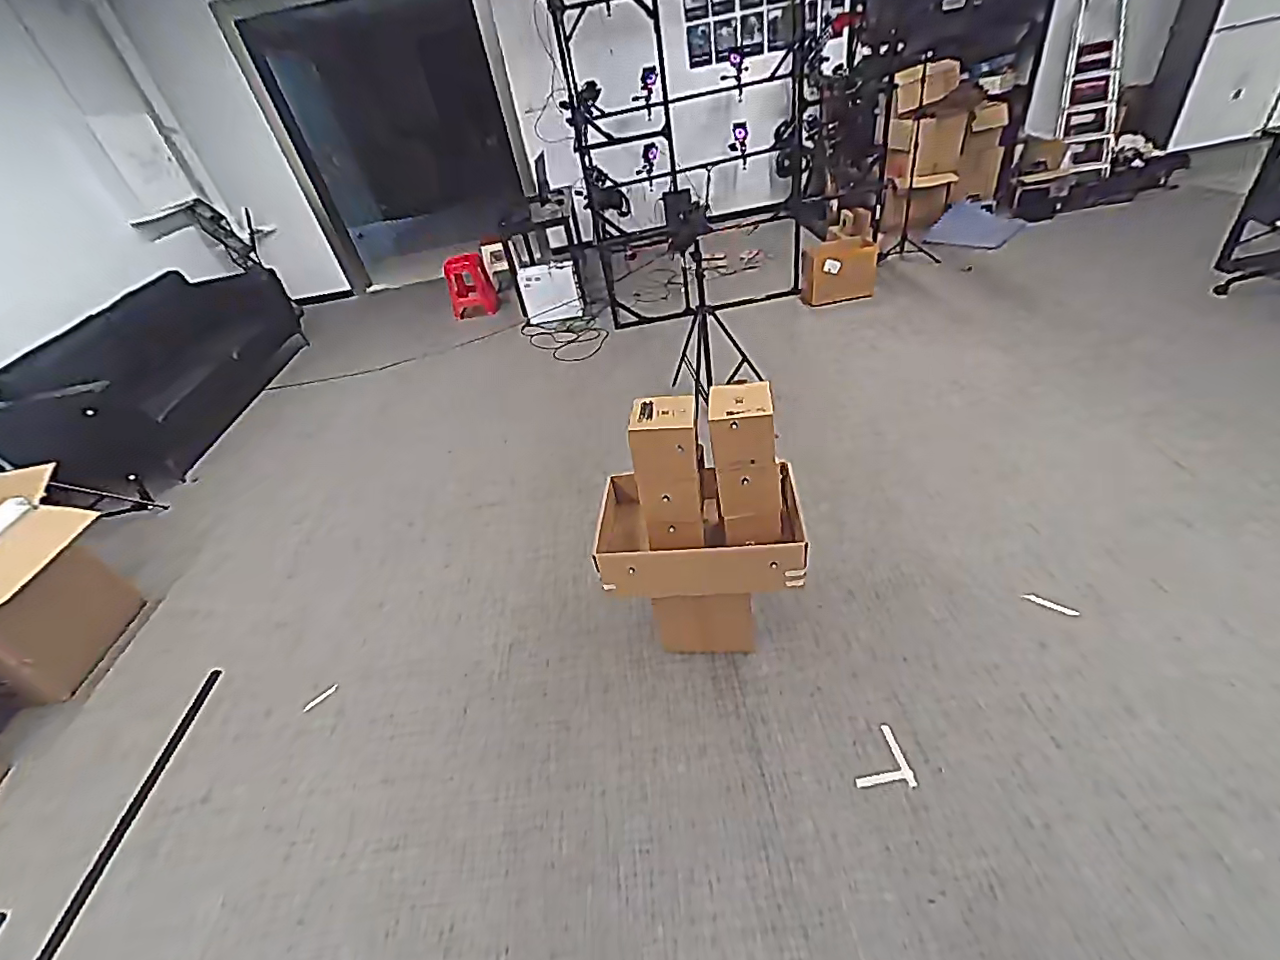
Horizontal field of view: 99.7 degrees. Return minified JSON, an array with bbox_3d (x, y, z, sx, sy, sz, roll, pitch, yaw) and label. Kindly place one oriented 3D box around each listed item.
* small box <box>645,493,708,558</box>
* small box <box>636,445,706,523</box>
[{"bbox_3d":[0.121,0.133,1.707,0.179,0.176,0.168,-3,38,11],"label":"small box"},{"bbox_3d":[0.099,0.014,1.597,0.179,0.176,0.168,0,39,14],"label":"small box"}]
